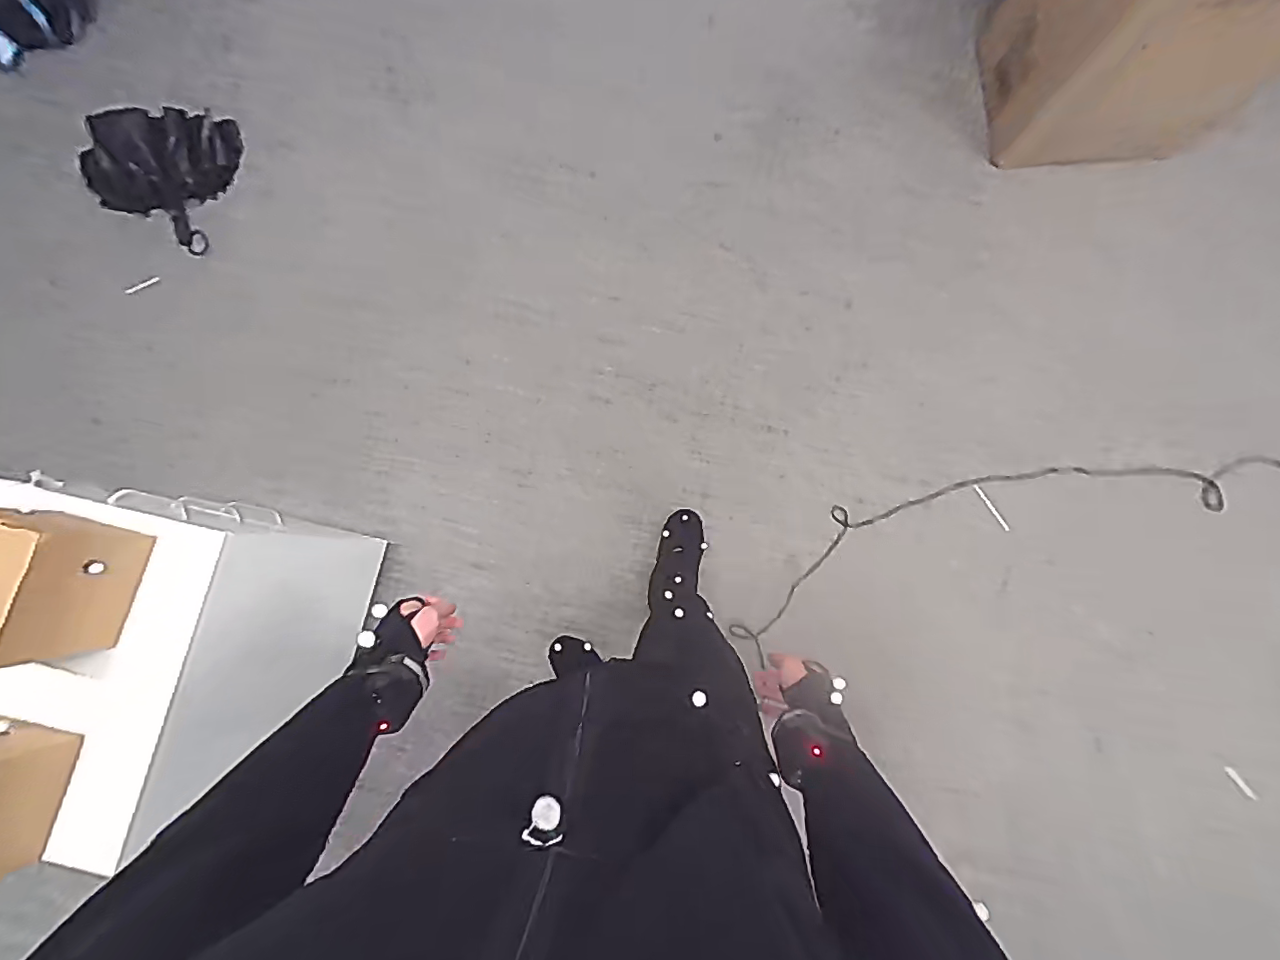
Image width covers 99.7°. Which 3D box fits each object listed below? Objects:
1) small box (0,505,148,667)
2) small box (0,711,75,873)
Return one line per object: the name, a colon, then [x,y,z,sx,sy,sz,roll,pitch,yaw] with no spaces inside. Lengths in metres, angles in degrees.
small box: [-0.833,0.133,0.734,0.168,0.176,0.179,14,85,2]
small box: [-0.905,0.421,0.694,0.168,0.176,0.179,13,81,0]
